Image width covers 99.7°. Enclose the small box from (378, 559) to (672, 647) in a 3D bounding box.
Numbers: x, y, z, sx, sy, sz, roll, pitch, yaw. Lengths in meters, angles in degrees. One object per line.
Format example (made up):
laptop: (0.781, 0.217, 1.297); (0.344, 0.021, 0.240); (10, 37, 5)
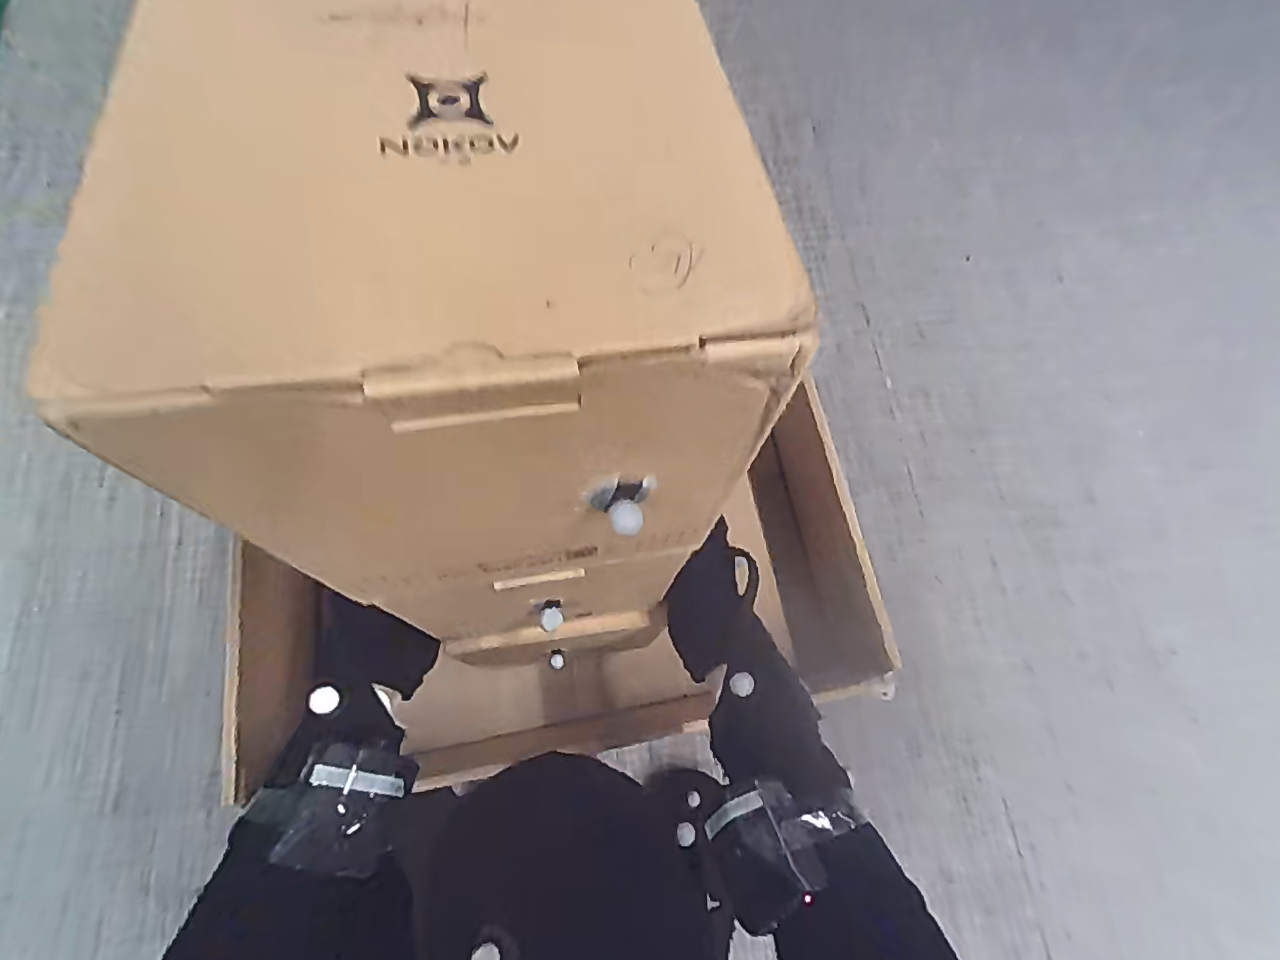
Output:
small box: (-0.080, 0.018, 0.400); (0.168, 0.176, 0.179); (-10, 66, -8)
